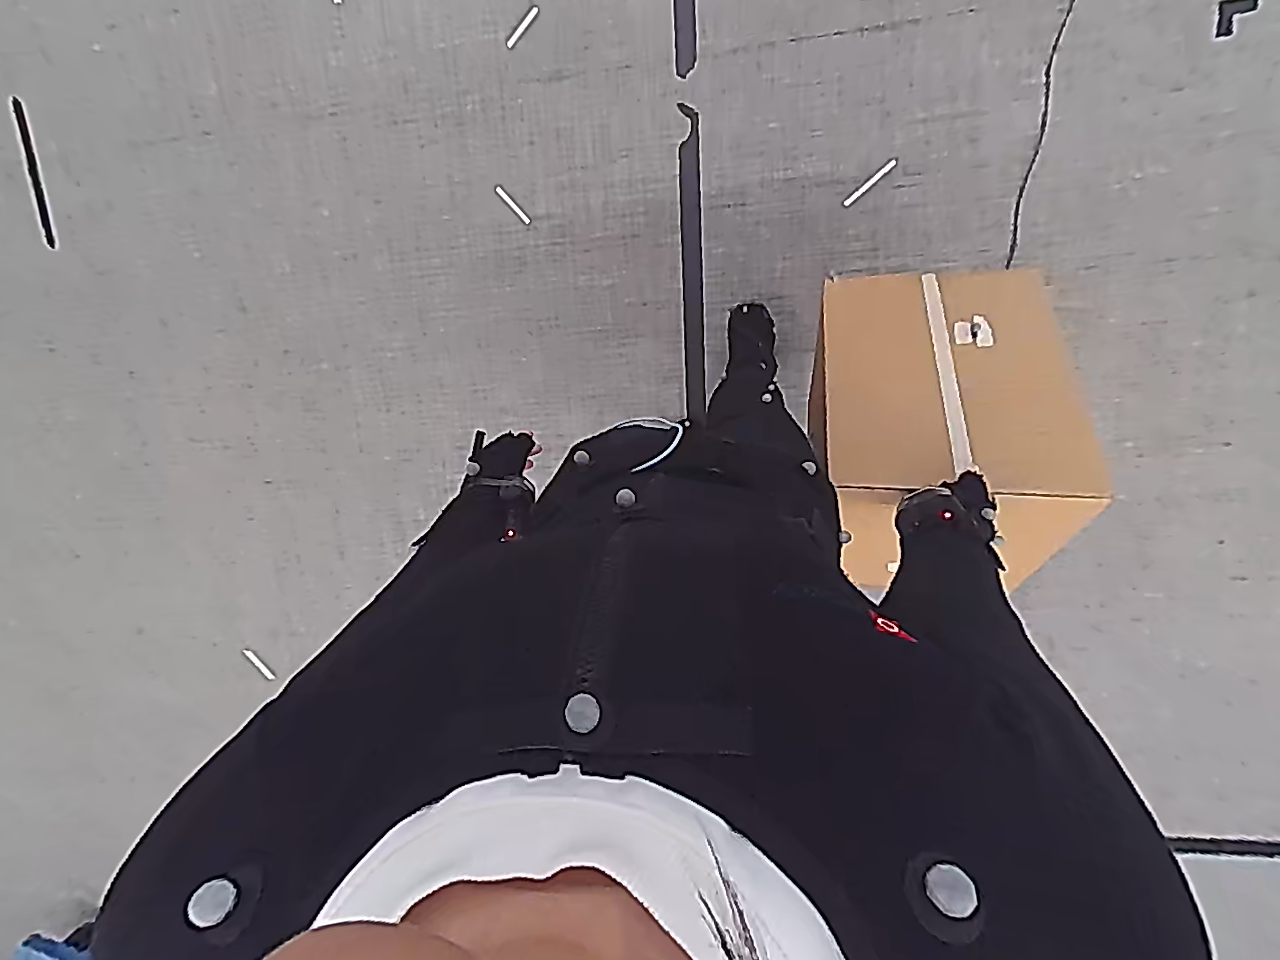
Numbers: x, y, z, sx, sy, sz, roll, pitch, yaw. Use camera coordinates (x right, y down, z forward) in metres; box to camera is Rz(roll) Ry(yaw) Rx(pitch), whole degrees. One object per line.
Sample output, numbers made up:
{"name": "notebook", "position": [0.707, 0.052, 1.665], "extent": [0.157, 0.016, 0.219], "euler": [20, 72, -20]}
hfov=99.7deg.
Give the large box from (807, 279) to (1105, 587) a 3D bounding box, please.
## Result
{"name": "large box", "position": [0.450, -0.071, 0.892], "extent": [0.320, 0.320, 0.408], "euler": [3, 56, 12]}
